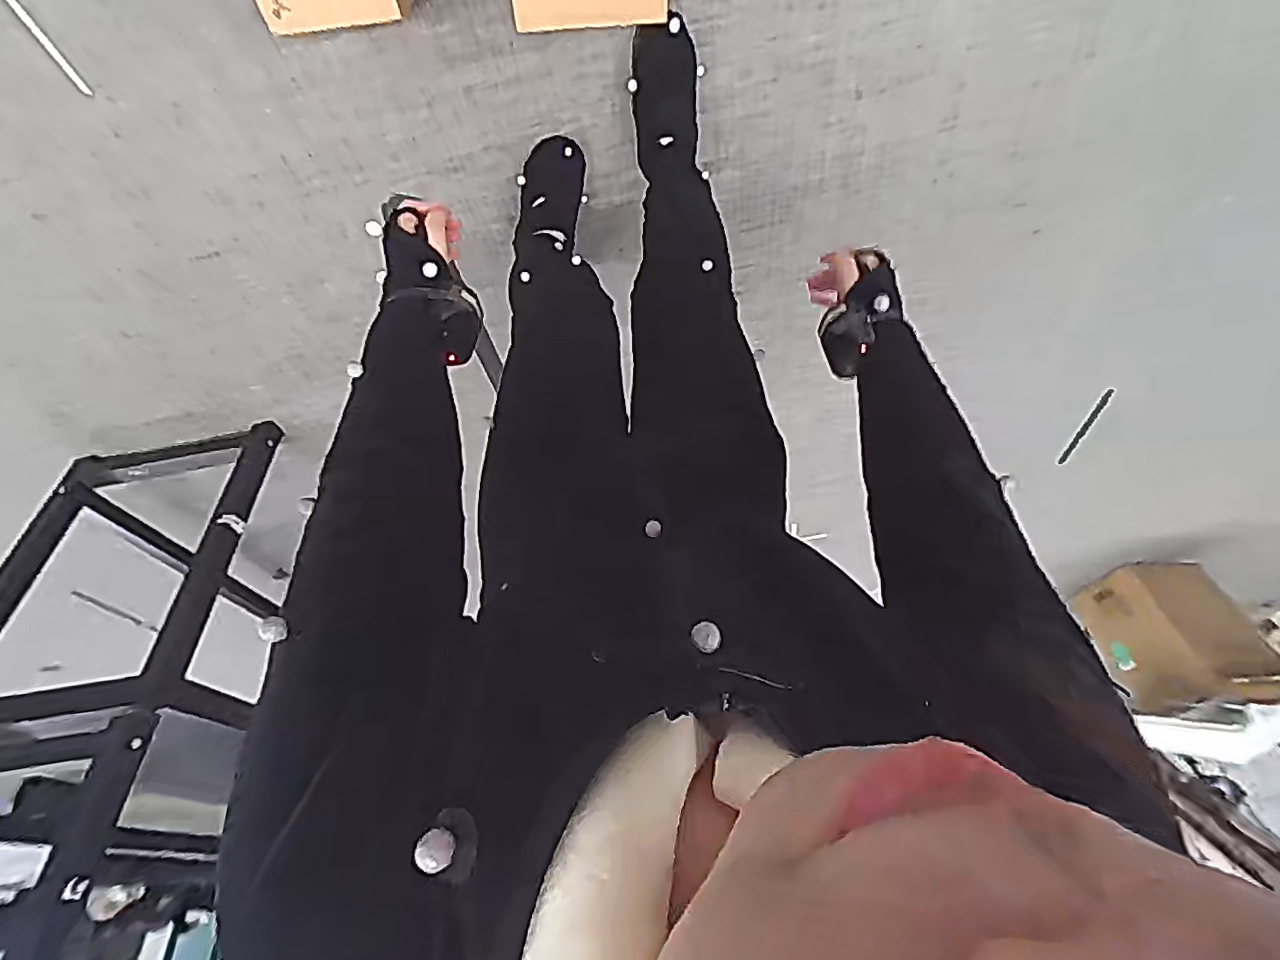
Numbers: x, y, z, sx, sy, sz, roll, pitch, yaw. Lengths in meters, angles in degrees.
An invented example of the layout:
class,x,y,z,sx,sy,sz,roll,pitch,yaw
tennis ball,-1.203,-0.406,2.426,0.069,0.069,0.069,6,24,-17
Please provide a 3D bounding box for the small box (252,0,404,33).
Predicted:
class,x,y,z,sx,sy,sz,roll,pitch,yaw
small box,-0.415,-0.706,0.691,0.179,0.176,0.168,-8,143,-2

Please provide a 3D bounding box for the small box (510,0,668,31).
class,x,y,z,sx,sy,sz,roll,pitch,yaw
small box,-0.065,-0.624,0.596,0.179,0.176,0.168,-6,141,-3
